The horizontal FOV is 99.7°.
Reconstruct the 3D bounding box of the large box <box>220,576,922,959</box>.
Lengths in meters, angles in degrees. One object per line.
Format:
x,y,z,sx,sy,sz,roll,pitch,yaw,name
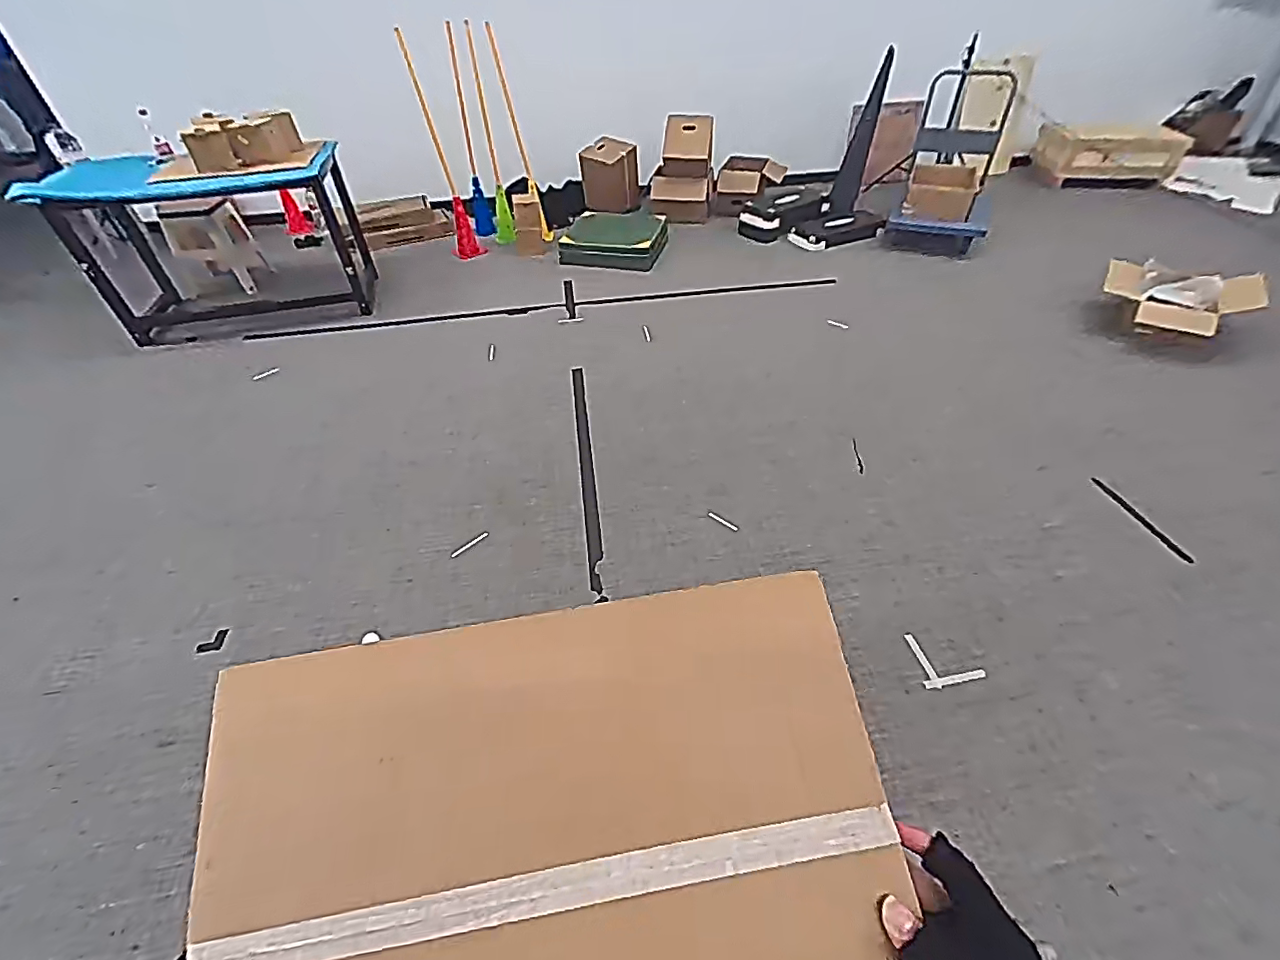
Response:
-0.047,0.296,0.460,0.408,0.320,0.320,-9,69,-3,large box
